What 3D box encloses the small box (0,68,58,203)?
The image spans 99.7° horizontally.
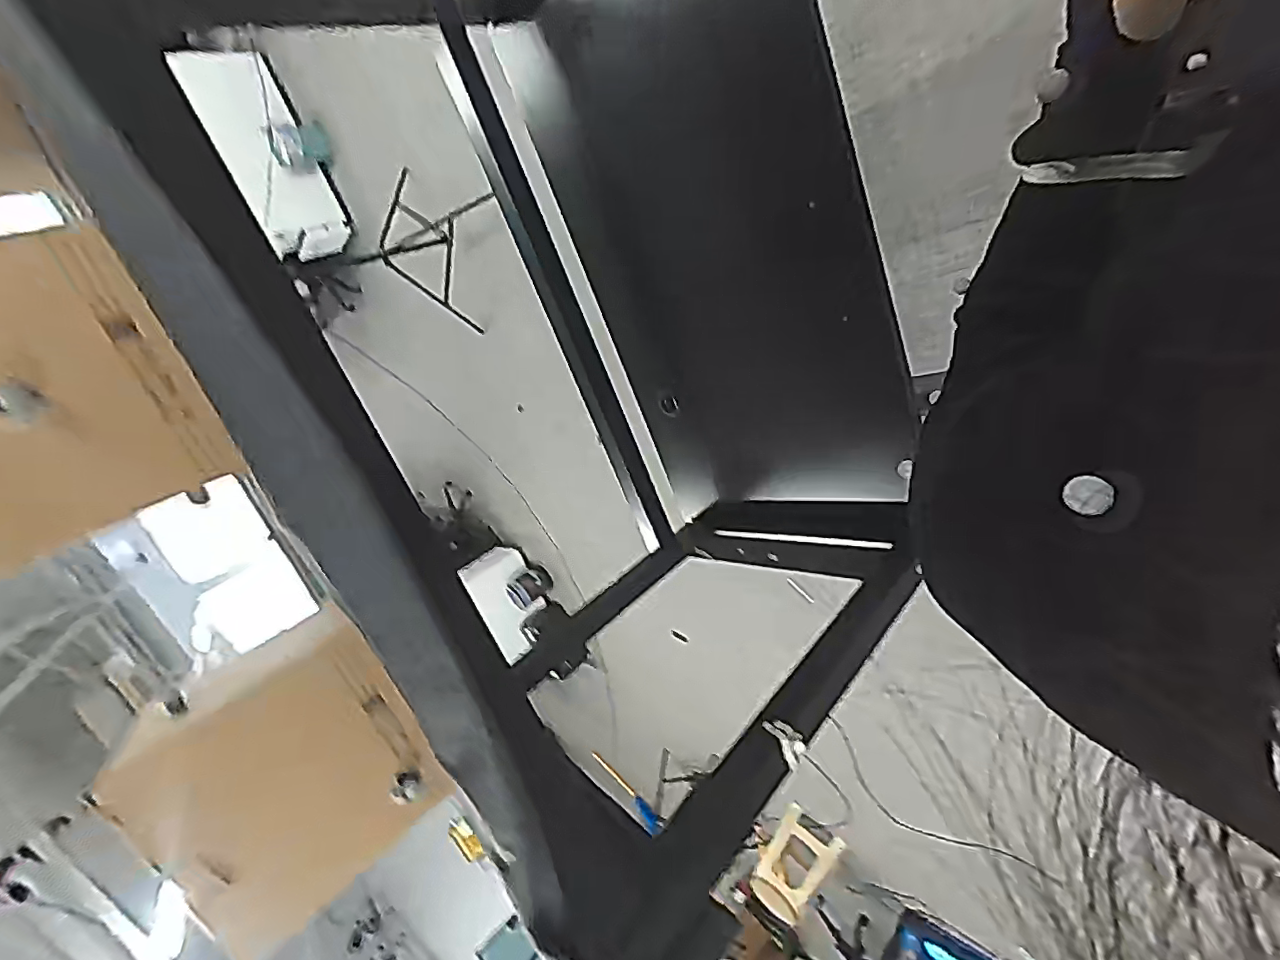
[{"bbox_3d":[-0.481,-0.253,0.291,0.179,0.176,0.168,1,120,52],"label":"small box"}]

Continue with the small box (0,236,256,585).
[{"bbox_3d":[-0.394,-0.044,0.364,0.179,0.176,0.168,4,121,51],"label":"small box"}]

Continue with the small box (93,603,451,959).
[{"bbox_3d":[-0.285,0.223,0.455,0.179,0.176,0.168,-5,114,56],"label":"small box"}]
